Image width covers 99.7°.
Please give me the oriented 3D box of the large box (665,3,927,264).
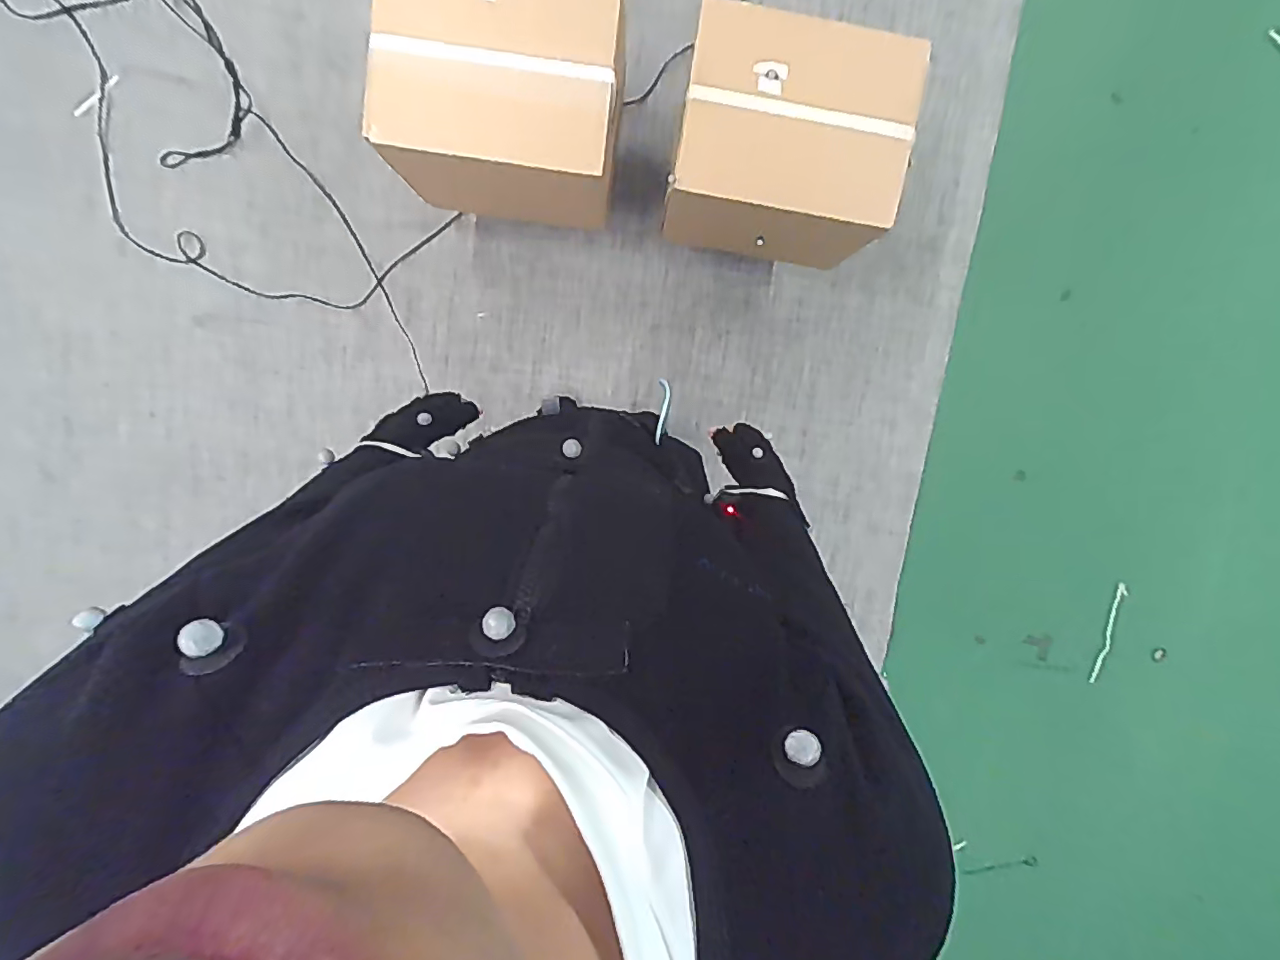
[{"bbox_3d":[0.280,-0.658,1.098,0.408,0.320,0.320,10,98,-3],"label":"large box"}]
